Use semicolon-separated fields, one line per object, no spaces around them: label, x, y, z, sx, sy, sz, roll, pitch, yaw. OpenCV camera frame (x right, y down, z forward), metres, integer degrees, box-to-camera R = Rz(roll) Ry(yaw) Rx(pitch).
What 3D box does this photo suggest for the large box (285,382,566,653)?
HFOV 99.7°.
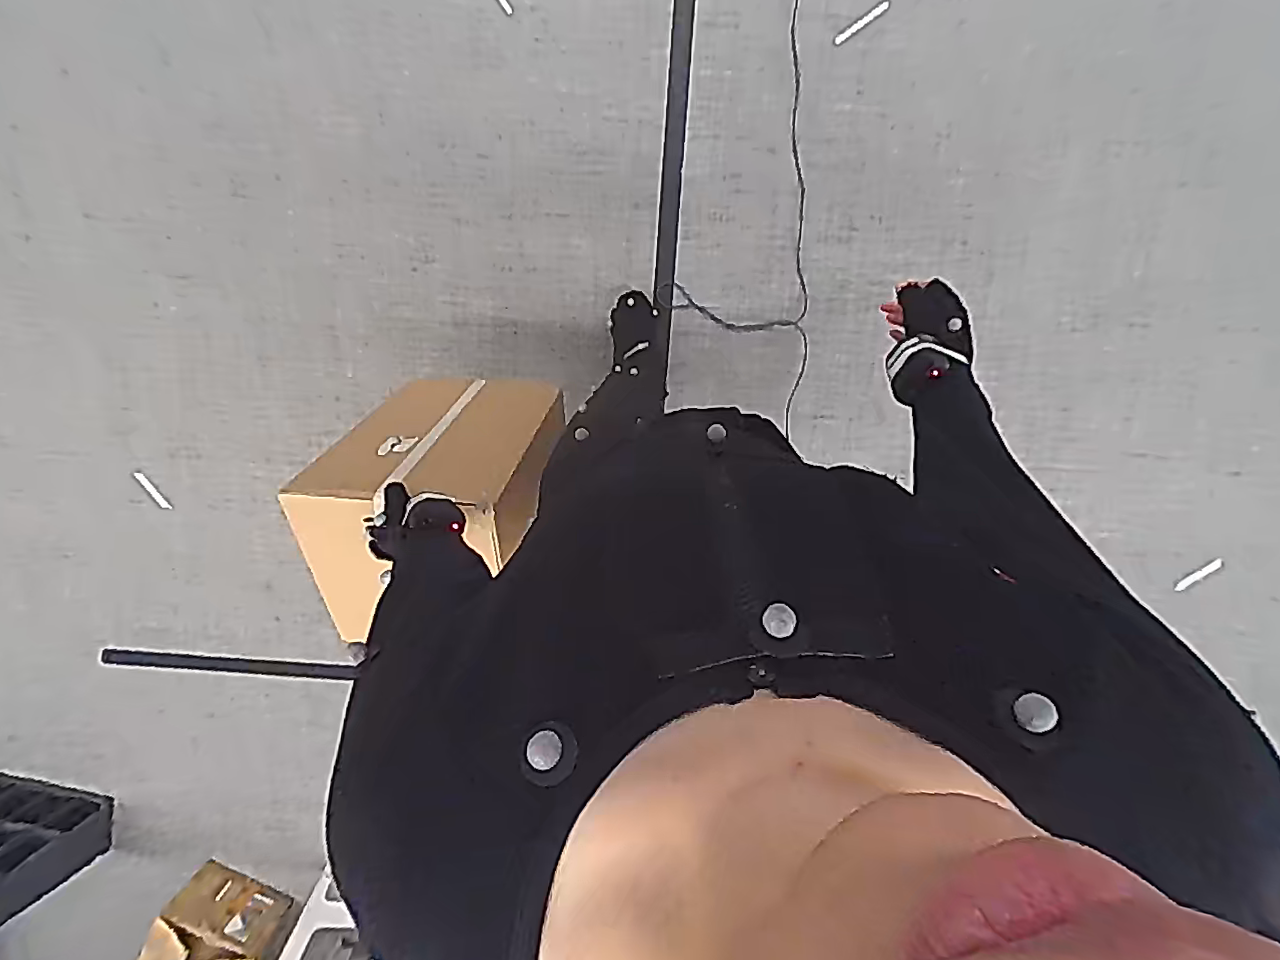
large box;-0.334;0.047;0.994;0.320;0.408;0.320;3;124;6
